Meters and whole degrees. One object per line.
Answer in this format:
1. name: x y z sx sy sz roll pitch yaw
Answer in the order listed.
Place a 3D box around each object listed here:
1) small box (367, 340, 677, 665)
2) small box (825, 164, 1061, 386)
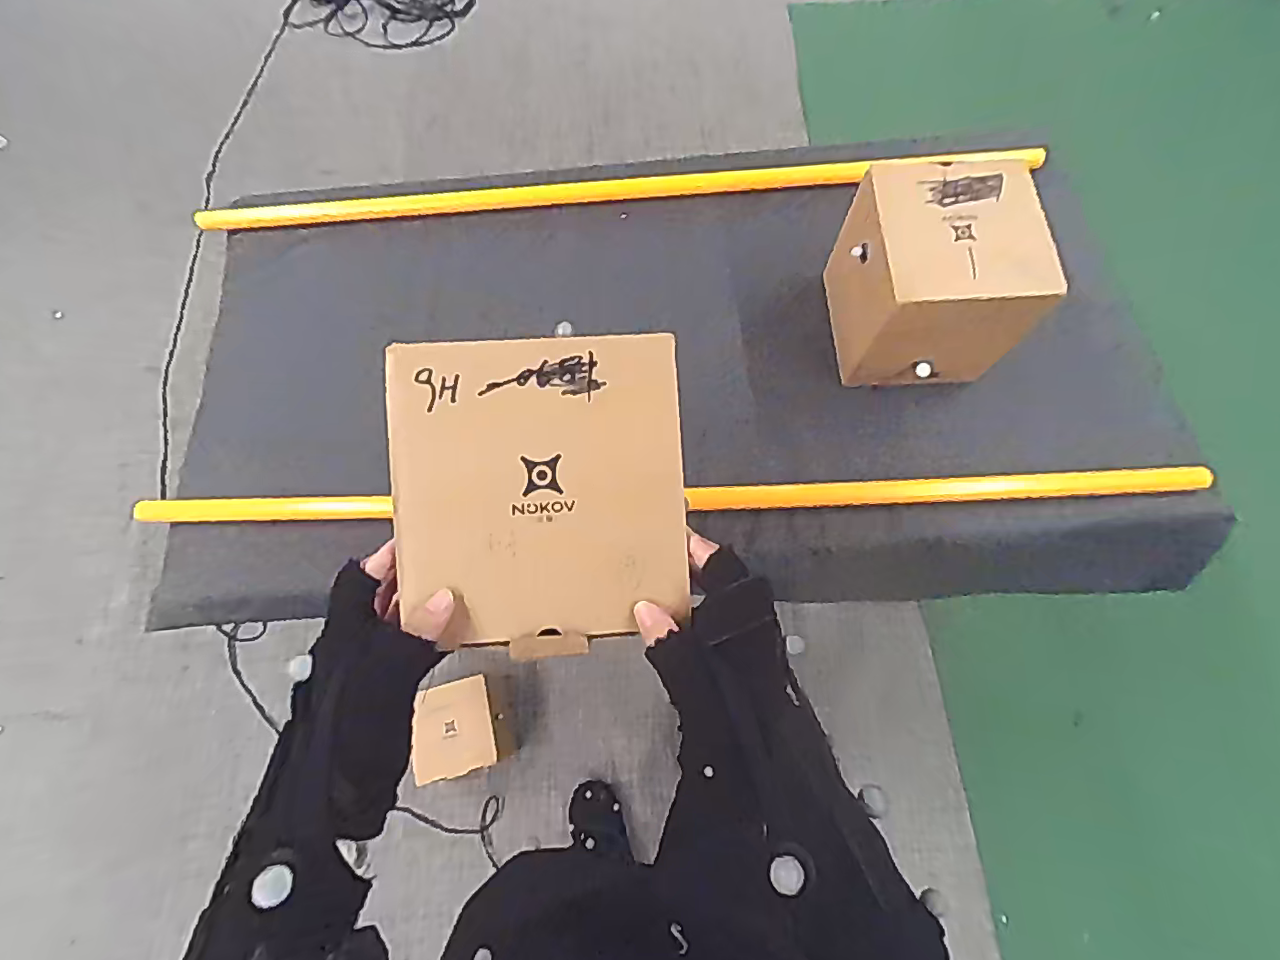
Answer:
1. small box: -0.069 0.012 0.390 0.168 0.176 0.179 -7 90 -3
2. small box: 0.326 -0.228 0.627 0.168 0.176 0.179 -2 71 2
